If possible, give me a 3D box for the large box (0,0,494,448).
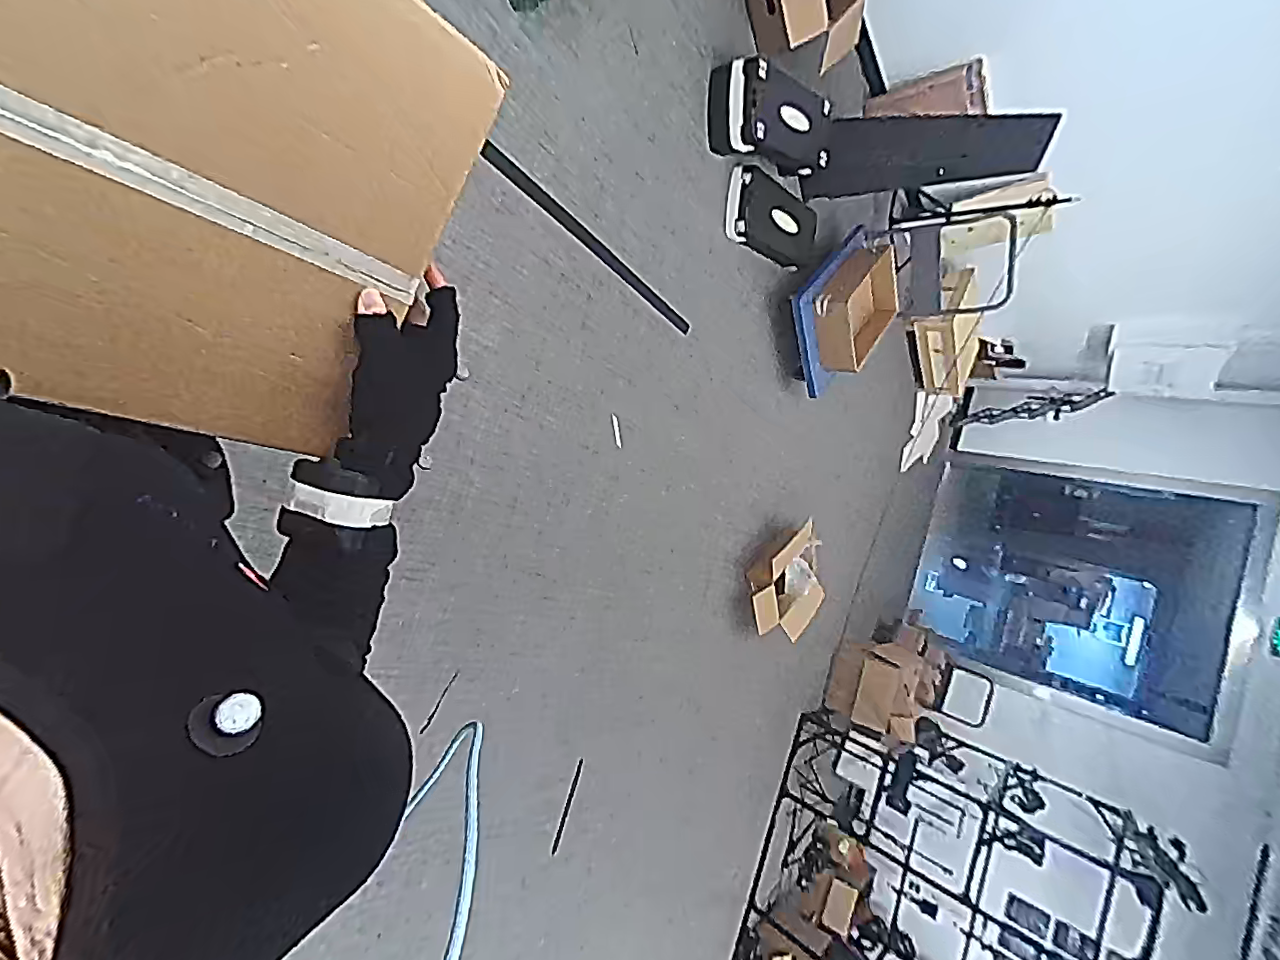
[{"bbox_3d":[-0.385,-0.267,0.361,0.408,0.320,0.320,15,117,-45],"label":"large box"}]
